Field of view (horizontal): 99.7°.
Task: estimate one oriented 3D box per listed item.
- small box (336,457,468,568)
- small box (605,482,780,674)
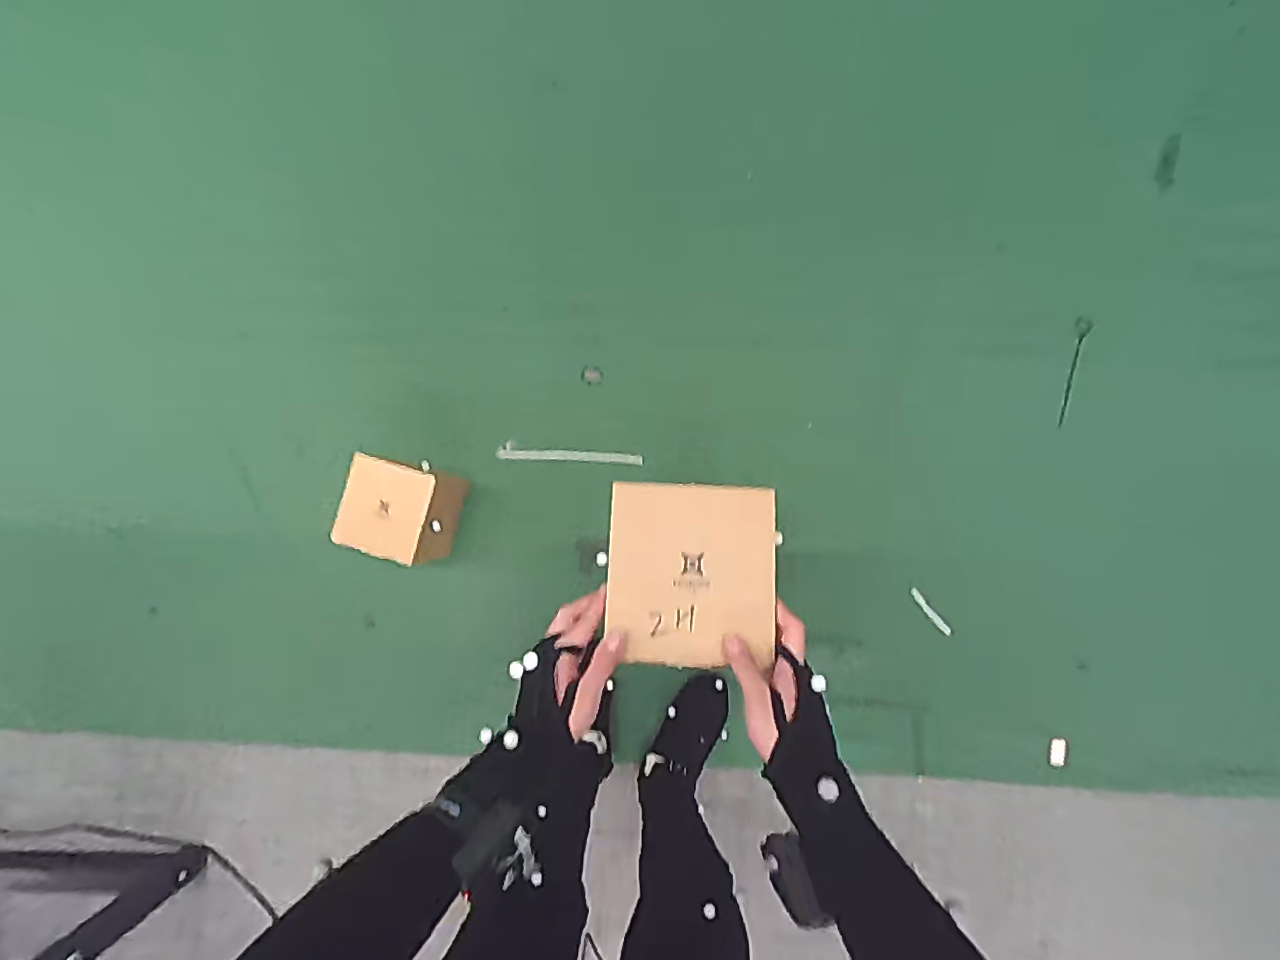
[{"bbox_3d":[-0.471,0.062,1.101,0.168,0.176,0.179,16,90,4],"label":"small box"},{"bbox_3d":[0.053,0.107,0.597,0.168,0.176,0.179,3,79,2],"label":"small box"}]
